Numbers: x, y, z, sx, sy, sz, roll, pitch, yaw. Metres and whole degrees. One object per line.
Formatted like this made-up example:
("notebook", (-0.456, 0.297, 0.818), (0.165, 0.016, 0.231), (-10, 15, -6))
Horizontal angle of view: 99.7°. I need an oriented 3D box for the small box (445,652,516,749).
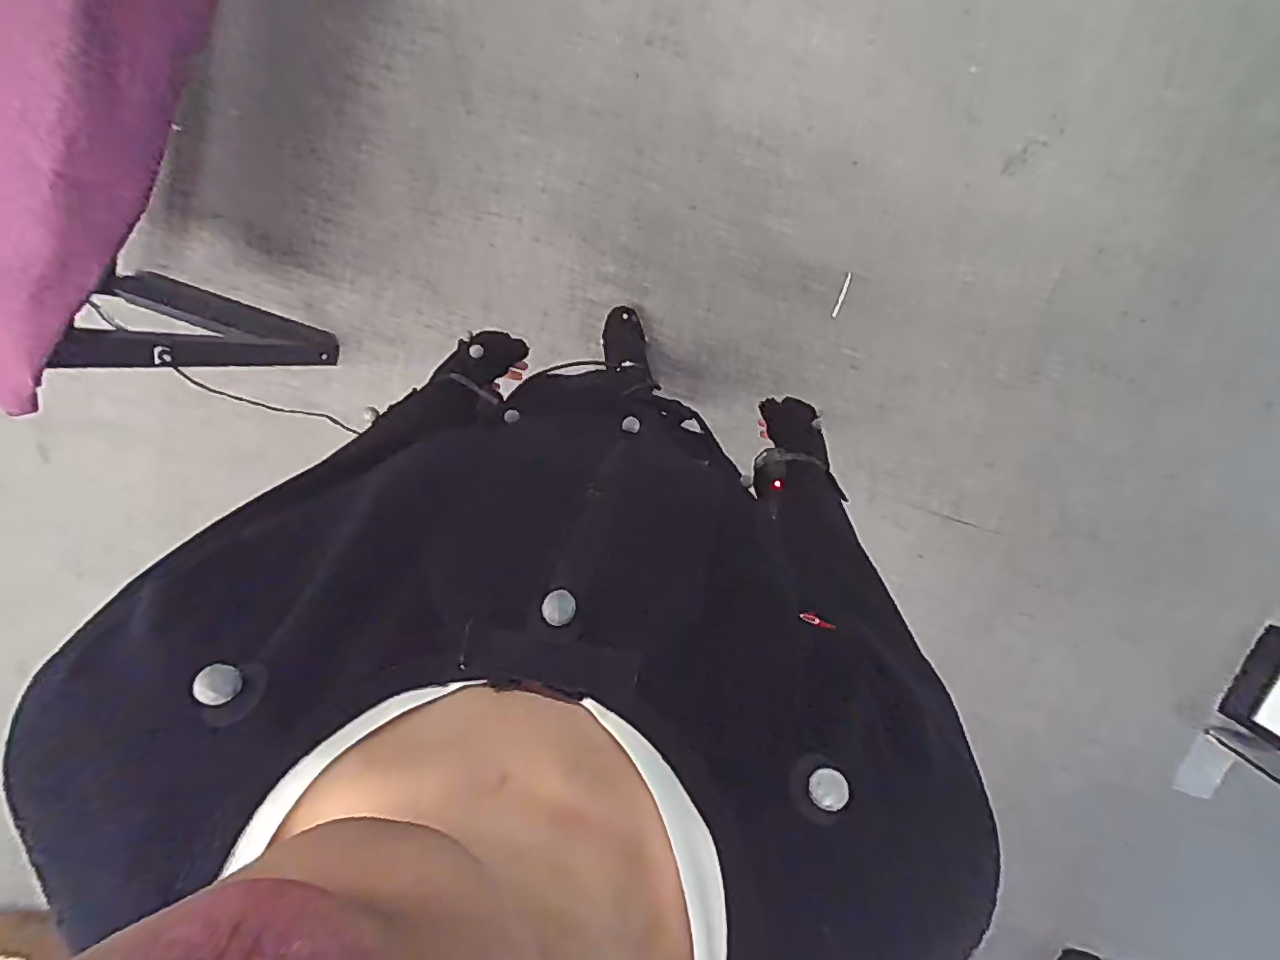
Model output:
("small box", (-0.465, 0.621, 1.543), (0.168, 0.176, 0.179), (17, 103, -1))
